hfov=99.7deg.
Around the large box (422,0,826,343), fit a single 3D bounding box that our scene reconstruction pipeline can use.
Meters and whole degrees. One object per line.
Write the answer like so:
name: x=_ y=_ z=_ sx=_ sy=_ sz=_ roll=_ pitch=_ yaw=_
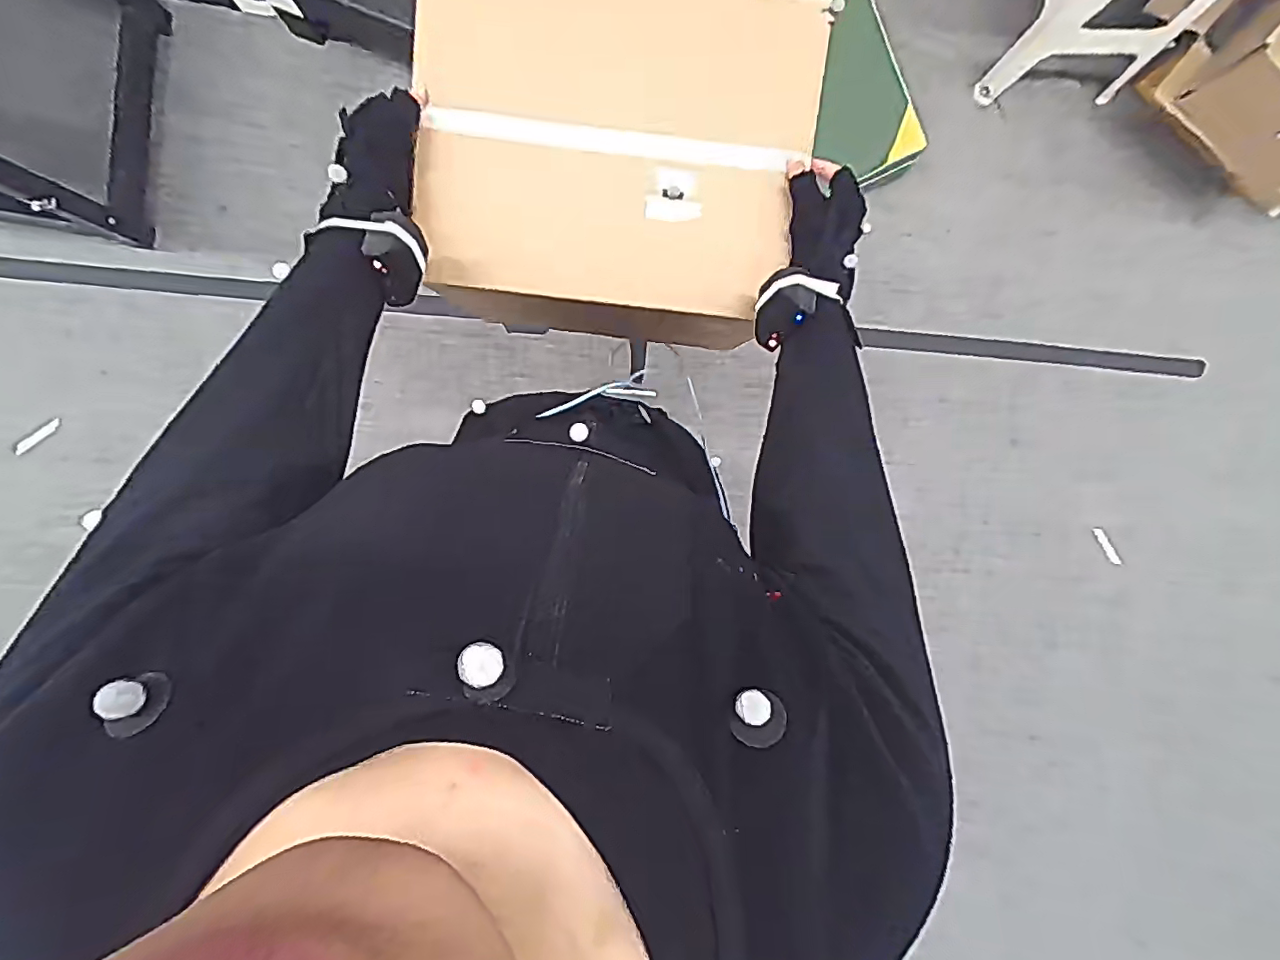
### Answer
large box: x=-0.027 y=-0.371 z=0.709 sx=0.408 sy=0.320 sz=0.320 roll=6 pitch=99 yaw=-3
